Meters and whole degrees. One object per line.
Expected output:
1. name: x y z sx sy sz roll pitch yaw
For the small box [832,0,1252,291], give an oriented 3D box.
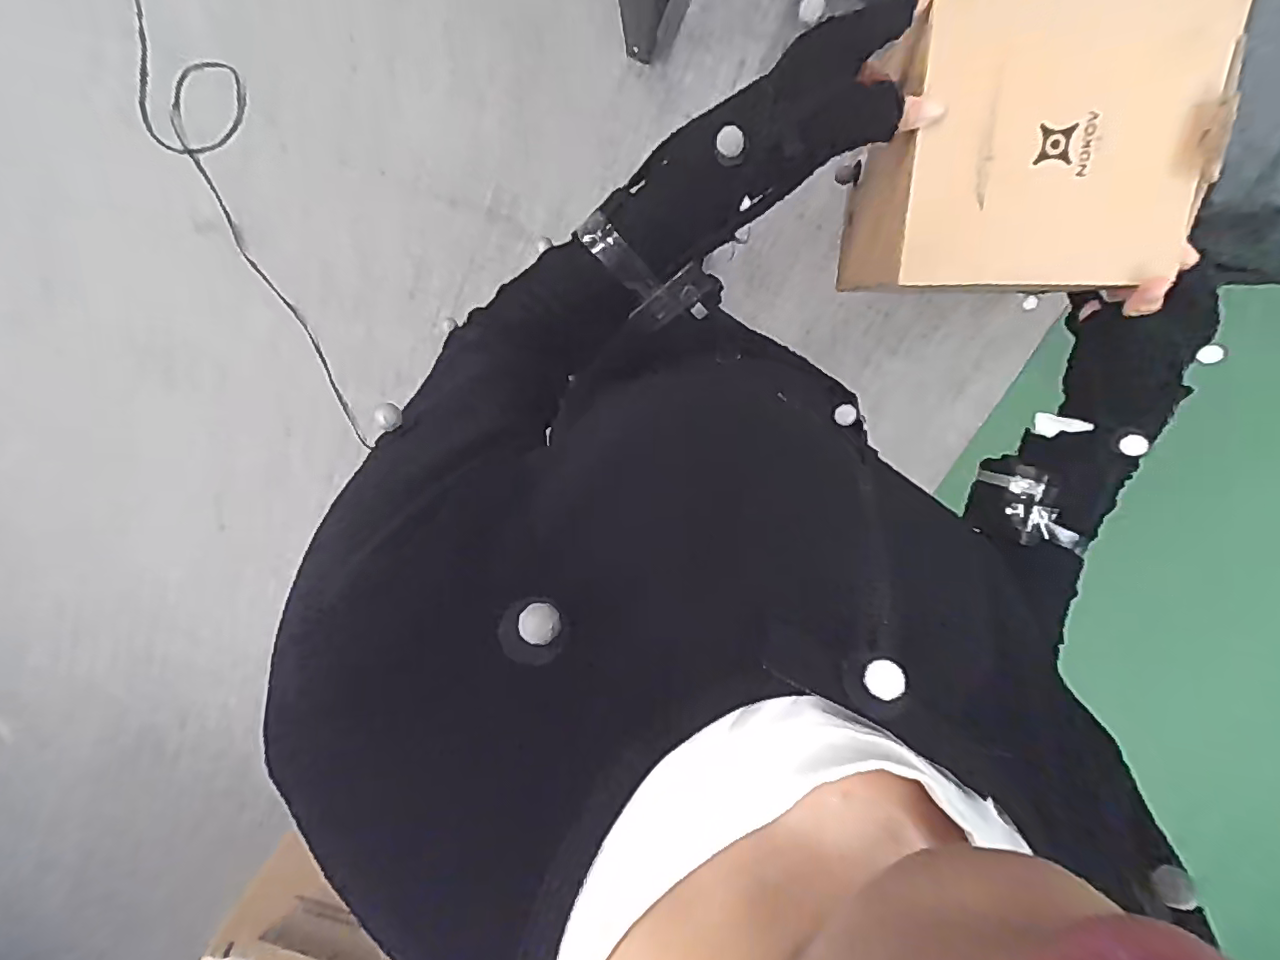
1. small box: 0.261 -0.234 0.403 0.179 0.176 0.168 2 107 5
